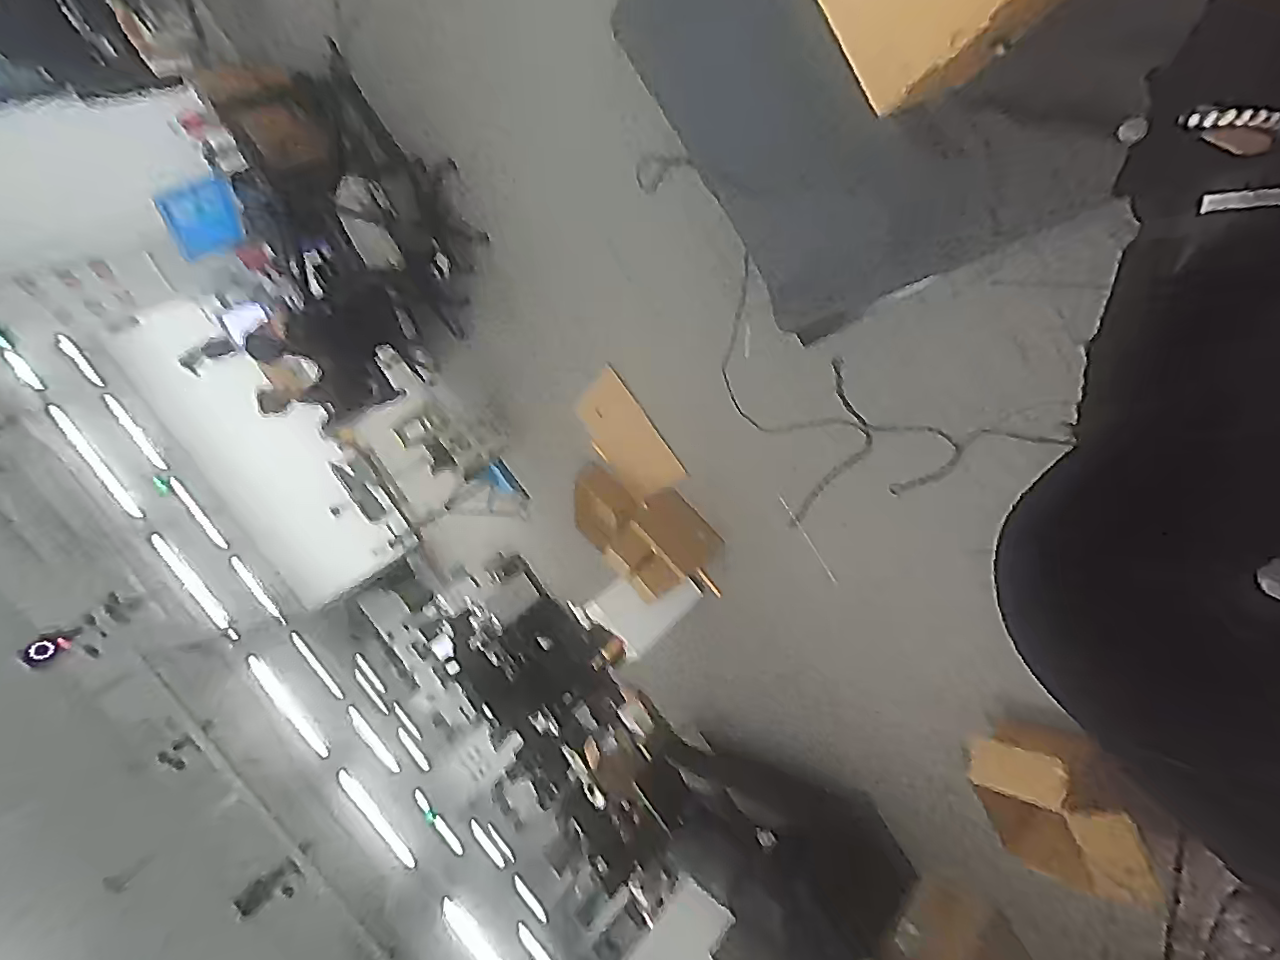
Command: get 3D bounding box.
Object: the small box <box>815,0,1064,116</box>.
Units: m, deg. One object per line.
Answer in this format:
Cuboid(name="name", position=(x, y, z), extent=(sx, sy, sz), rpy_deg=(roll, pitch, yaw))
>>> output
Cuboid(name="small box", position=(0.280, -0.475, 0.481), extent=(0.179, 0.176, 0.168), rpy_deg=(56, 151, -7))
